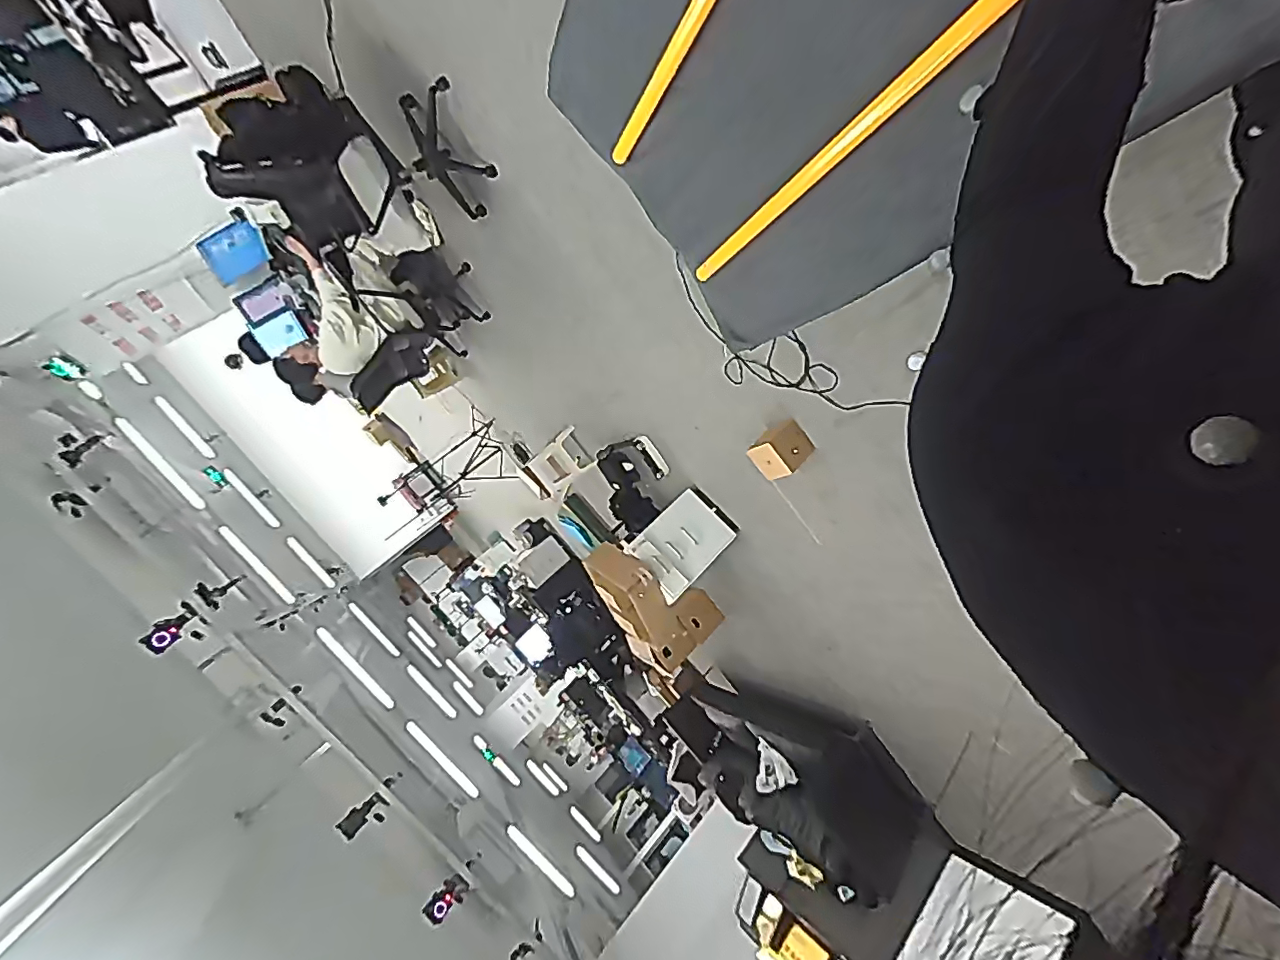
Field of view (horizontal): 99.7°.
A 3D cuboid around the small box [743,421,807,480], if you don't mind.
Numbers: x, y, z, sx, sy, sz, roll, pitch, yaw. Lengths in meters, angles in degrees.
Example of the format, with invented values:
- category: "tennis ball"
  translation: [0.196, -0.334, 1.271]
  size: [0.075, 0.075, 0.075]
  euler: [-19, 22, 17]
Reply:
- category: "small box"
  translation: [0.577, -0.126, 2.275]
  size: [0.168, 0.176, 0.179]
  euler: [50, 157, -7]
